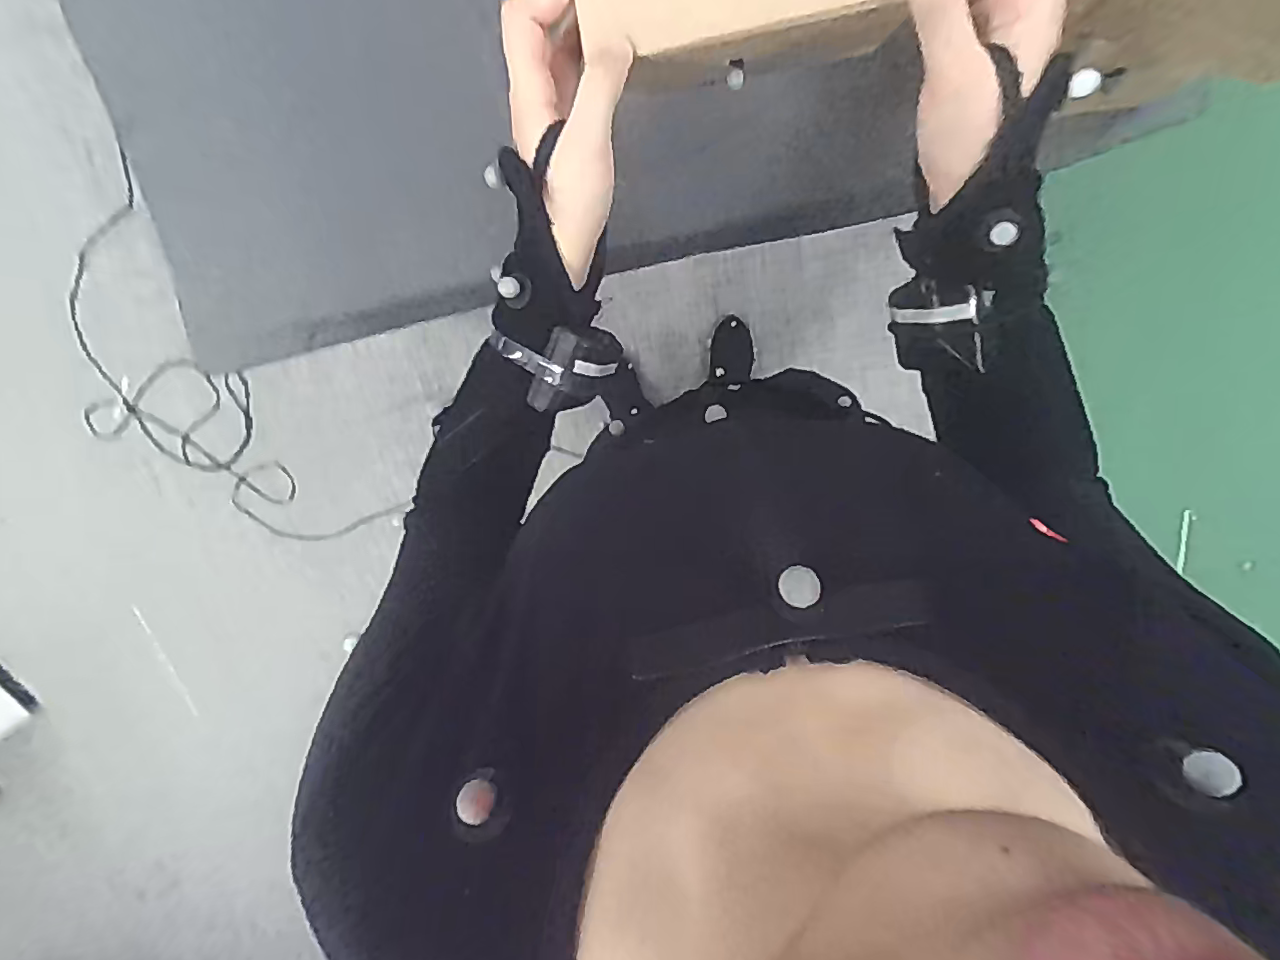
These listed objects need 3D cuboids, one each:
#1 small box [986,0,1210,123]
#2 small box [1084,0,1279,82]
[{"bbox_3d":[0.442,-0.444,0.481,0.179,0.176,0.168,-3,105,6],"label":"small box"},{"bbox_3d":[0.437,-0.385,0.328,0.179,0.176,0.168,17,106,-2],"label":"small box"}]
